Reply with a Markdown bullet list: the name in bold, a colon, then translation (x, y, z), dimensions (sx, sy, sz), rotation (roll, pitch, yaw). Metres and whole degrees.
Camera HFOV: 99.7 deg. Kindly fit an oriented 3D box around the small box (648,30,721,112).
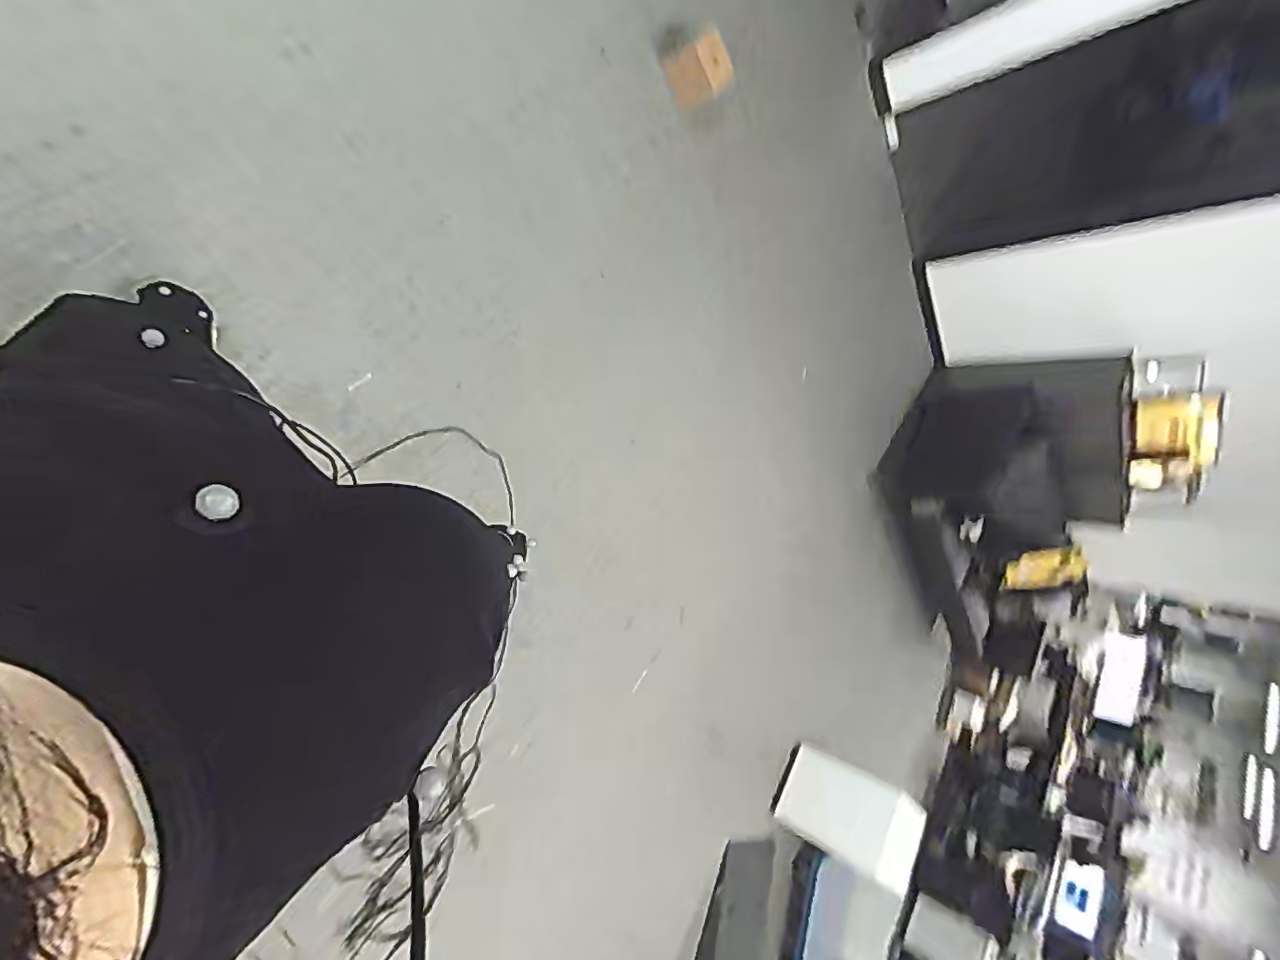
- **small box**: translation (0.165, -1.503, 2.003), dimensions (0.168, 0.176, 0.179), rotation (-55, 128, -24)
